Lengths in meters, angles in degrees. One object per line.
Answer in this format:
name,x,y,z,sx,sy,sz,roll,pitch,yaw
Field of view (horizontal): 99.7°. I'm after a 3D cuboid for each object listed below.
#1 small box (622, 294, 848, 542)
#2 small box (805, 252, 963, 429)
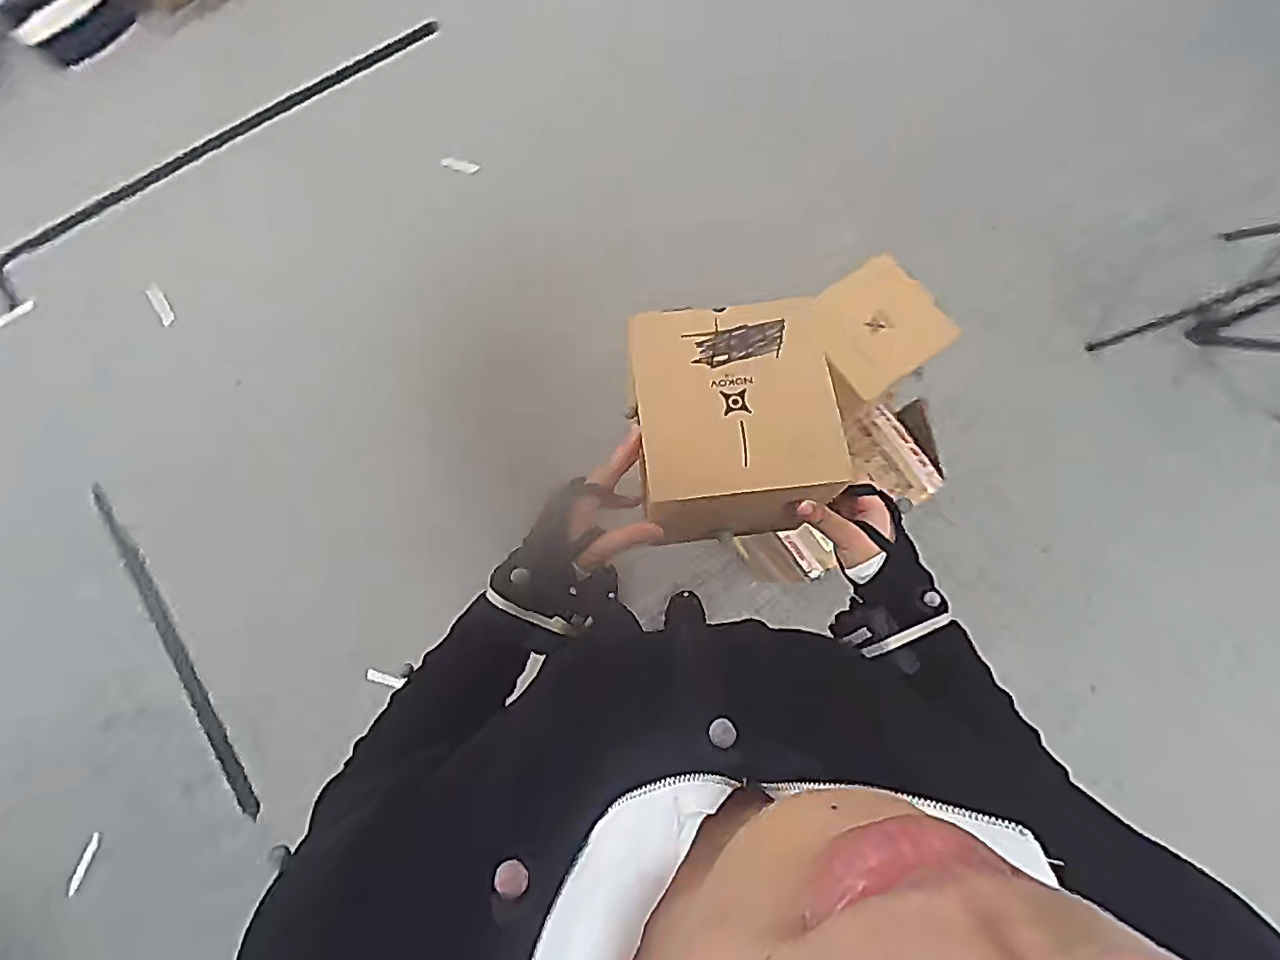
small box,0.072,-0.050,0.523,0.168,0.176,0.179,-7,72,-3
small box,0.343,-0.205,0.842,0.179,0.176,0.168,-35,79,-3
